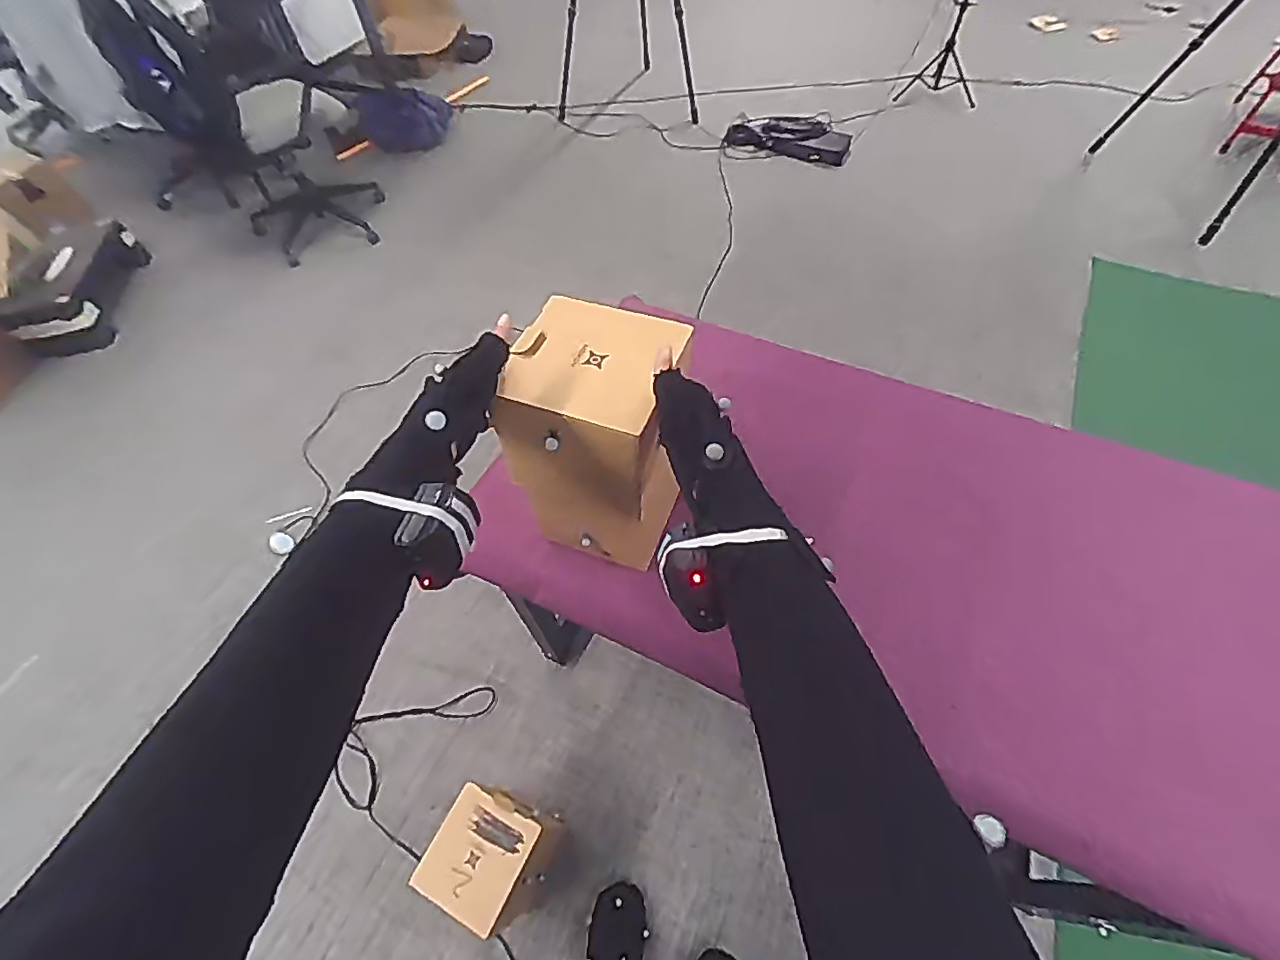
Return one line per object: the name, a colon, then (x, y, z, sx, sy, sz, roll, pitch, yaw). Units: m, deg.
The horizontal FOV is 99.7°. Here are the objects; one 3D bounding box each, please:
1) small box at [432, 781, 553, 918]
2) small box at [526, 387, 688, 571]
small box: (-0.299, 0.774, 1.145, 0.168, 0.176, 0.179, 23, 61, 17)
small box: (-0.041, 0.001, 0.781, 0.168, 0.176, 0.179, 18, 58, 13)
